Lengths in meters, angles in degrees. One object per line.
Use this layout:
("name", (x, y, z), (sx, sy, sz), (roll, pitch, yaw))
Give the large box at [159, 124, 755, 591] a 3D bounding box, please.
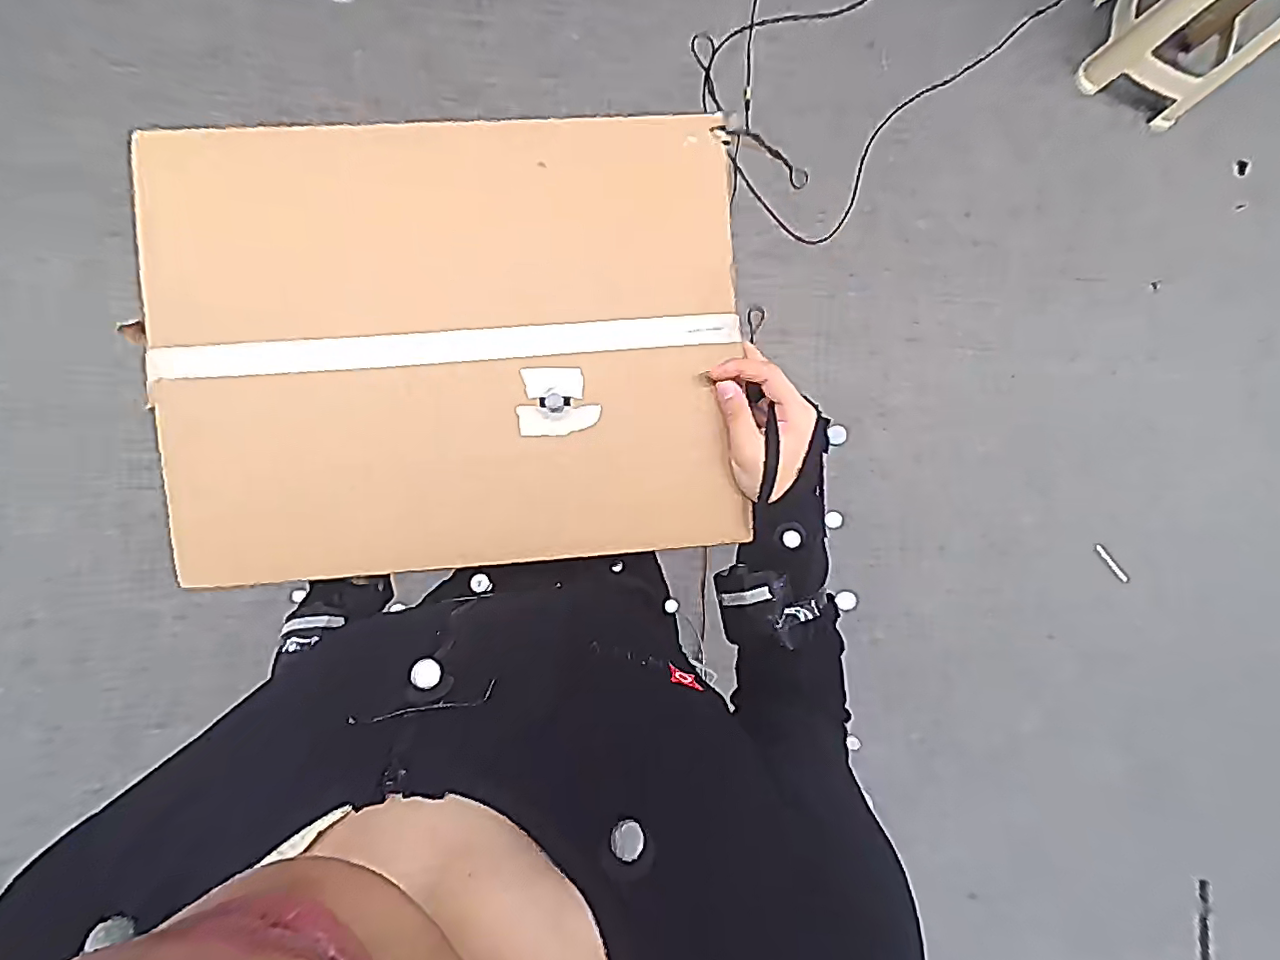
("large box", (-0.137, -0.096, 0.541), (0.408, 0.320, 0.320), (-6, 92, -5))
